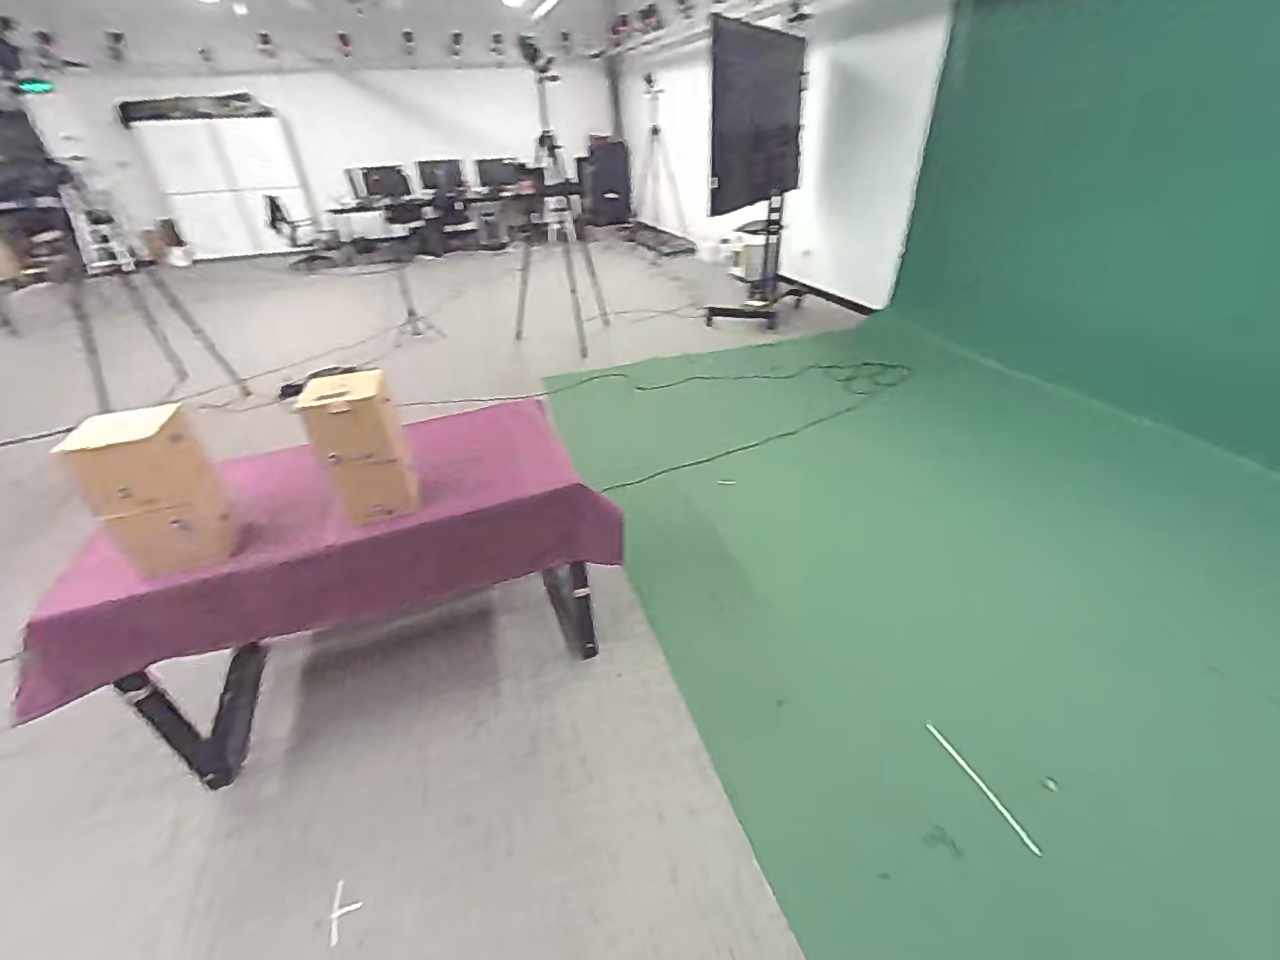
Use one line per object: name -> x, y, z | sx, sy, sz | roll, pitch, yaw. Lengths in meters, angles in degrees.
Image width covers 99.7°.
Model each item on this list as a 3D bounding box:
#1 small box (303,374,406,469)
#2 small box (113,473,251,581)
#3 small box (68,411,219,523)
small box -> -0.681, -0.138, 1.312 | 0.168, 0.176, 0.179 | -12, 33, -12
small box -> -1.060, 0.110, 1.274 | 0.179, 0.176, 0.168 | -13, 34, -15
small box -> -1.074, -0.030, 1.192 | 0.168, 0.176, 0.179 | -13, 35, -14
